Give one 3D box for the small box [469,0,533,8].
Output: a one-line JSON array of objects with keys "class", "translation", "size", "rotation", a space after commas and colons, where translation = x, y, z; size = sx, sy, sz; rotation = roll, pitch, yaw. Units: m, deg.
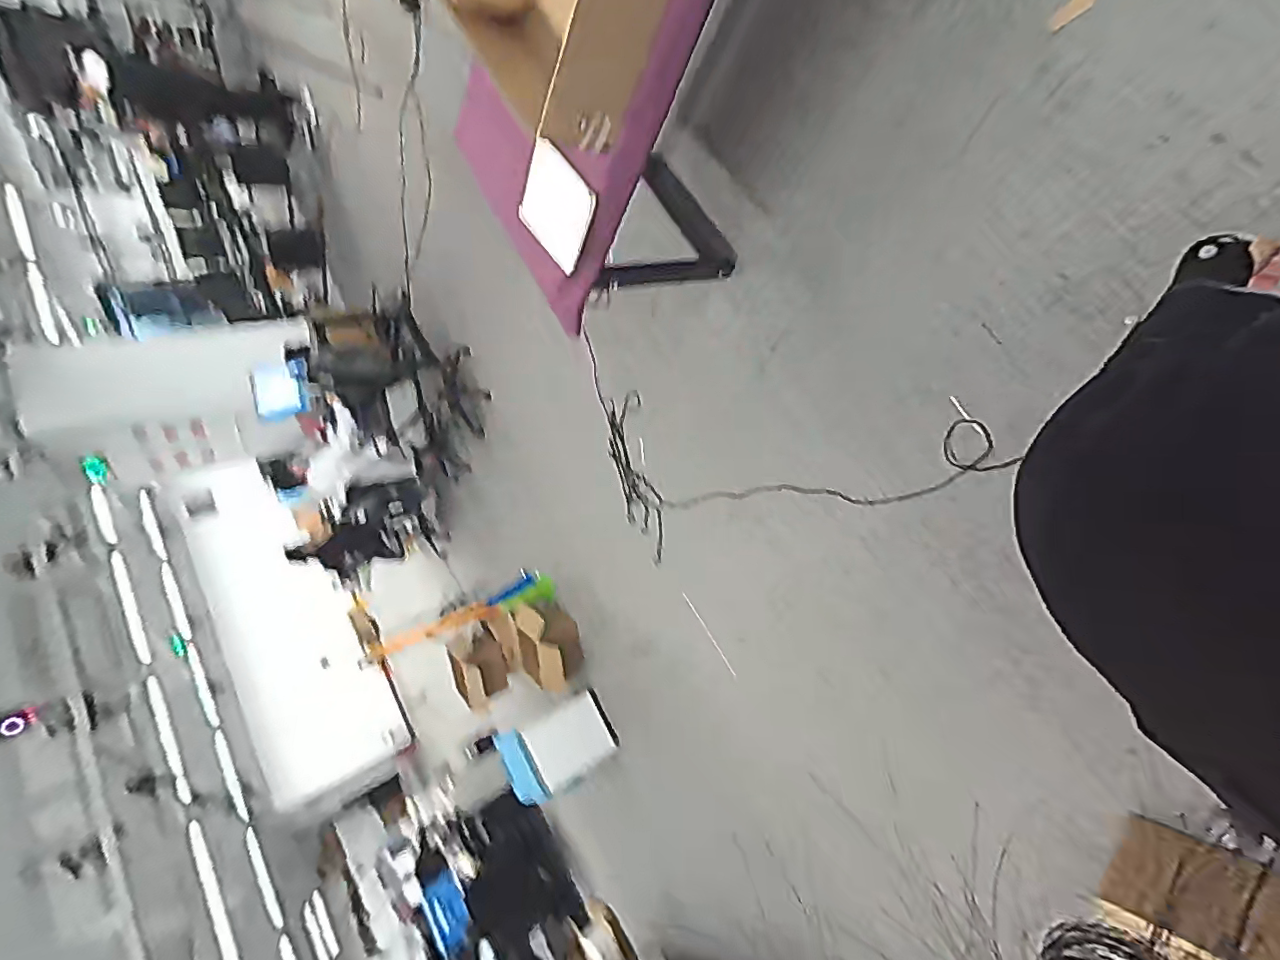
[{"class": "small box", "translation": [-0.293, -1.069, 1.053], "size": [0.179, 0.176, 0.168], "rotation": [58, 143, 13]}]
